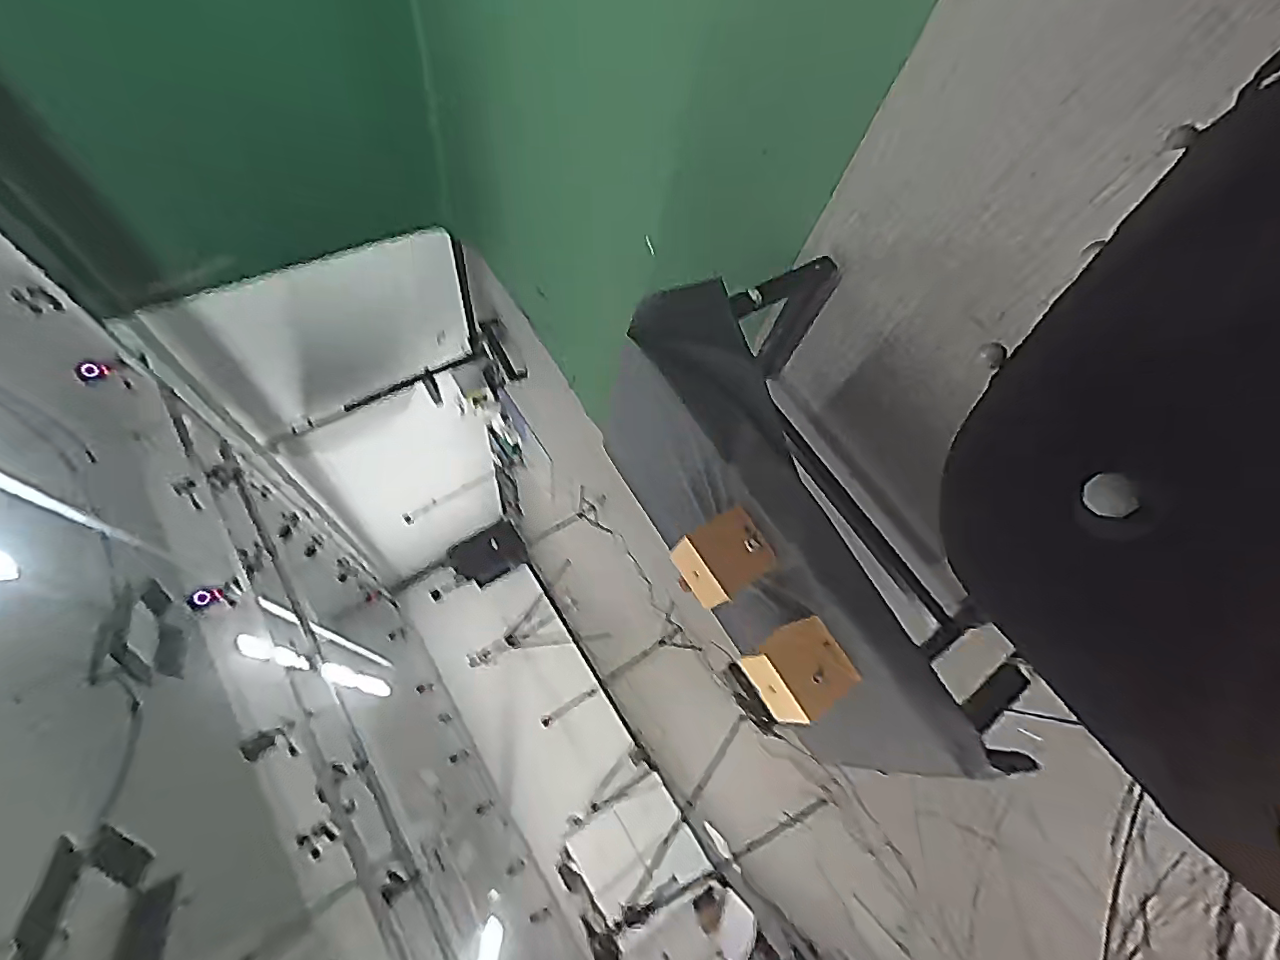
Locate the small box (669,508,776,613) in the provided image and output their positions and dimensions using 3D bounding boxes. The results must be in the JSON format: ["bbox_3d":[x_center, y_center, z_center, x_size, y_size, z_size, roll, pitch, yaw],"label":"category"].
[{"bbox_3d":[0.198,0.195,1.309,0.168,0.176,0.179,55,157,14],"label":"small box"}]

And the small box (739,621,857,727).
[{"bbox_3d":[0.363,0.442,1.242,0.168,0.176,0.179,56,159,14],"label":"small box"}]
